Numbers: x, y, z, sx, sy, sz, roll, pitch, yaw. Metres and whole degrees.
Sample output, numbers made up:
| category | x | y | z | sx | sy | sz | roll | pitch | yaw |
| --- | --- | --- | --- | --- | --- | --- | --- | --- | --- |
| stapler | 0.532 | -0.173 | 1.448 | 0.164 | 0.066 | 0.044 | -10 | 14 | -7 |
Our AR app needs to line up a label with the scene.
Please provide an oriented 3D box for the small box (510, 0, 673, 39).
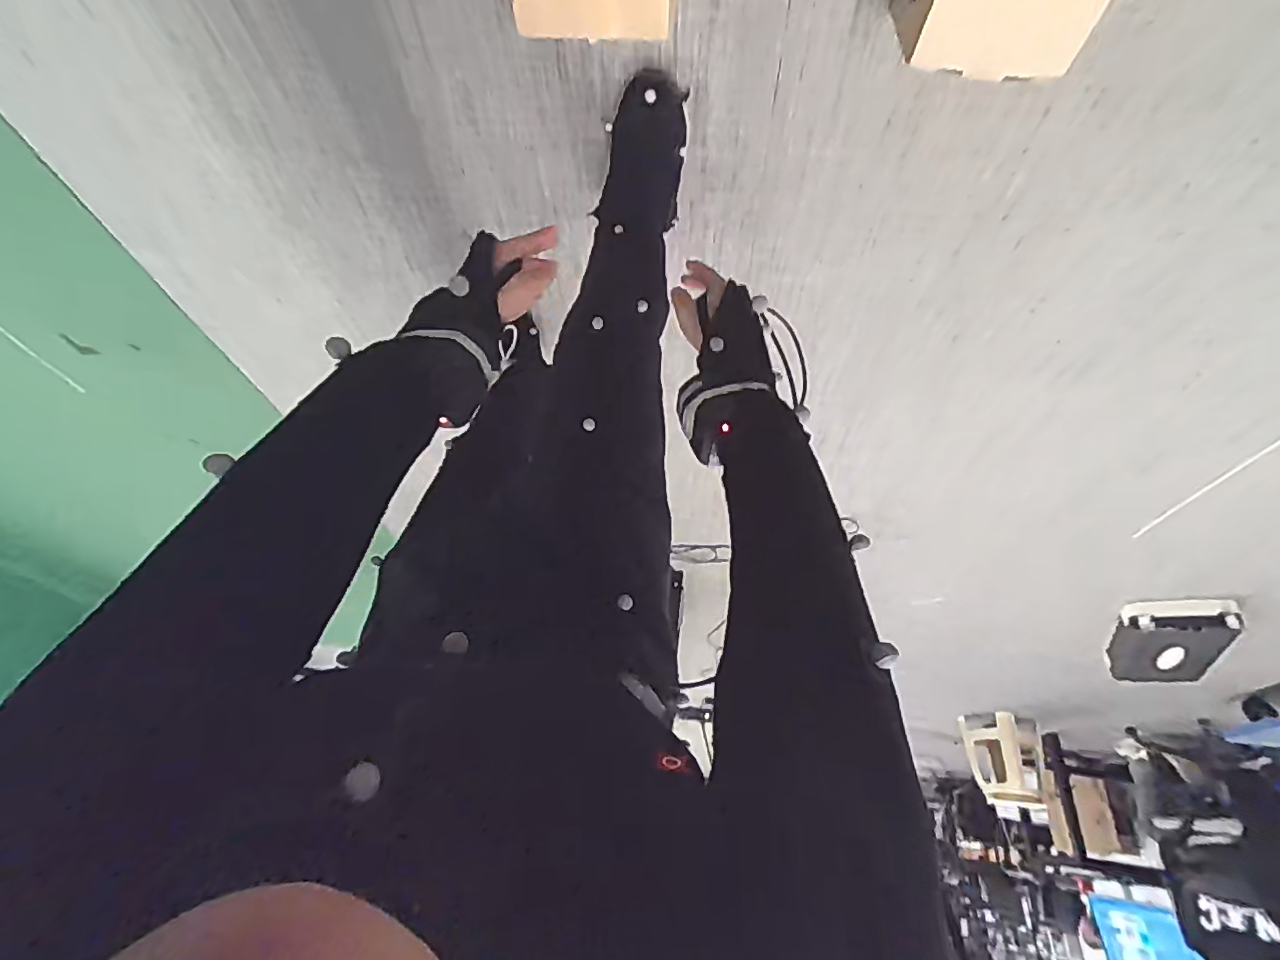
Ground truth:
| category | x | y | z | sx | sy | sz | roll | pitch | yaw |
| --- | --- | --- | --- | --- | --- | --- | --- | --- | --- |
| small box | -0.047 | -0.606 | 0.577 | 0.179 | 0.176 | 0.168 | 6 | 147 | 5 |

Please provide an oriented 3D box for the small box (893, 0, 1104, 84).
| category | x | y | z | sx | sy | sz | roll | pitch | yaw |
| --- | --- | --- | --- | --- | --- | --- | --- | --- | --- |
| small box | 0.380 | -0.552 | 0.558 | 0.168 | 0.176 | 0.179 | 7 | 147 | 1 |
